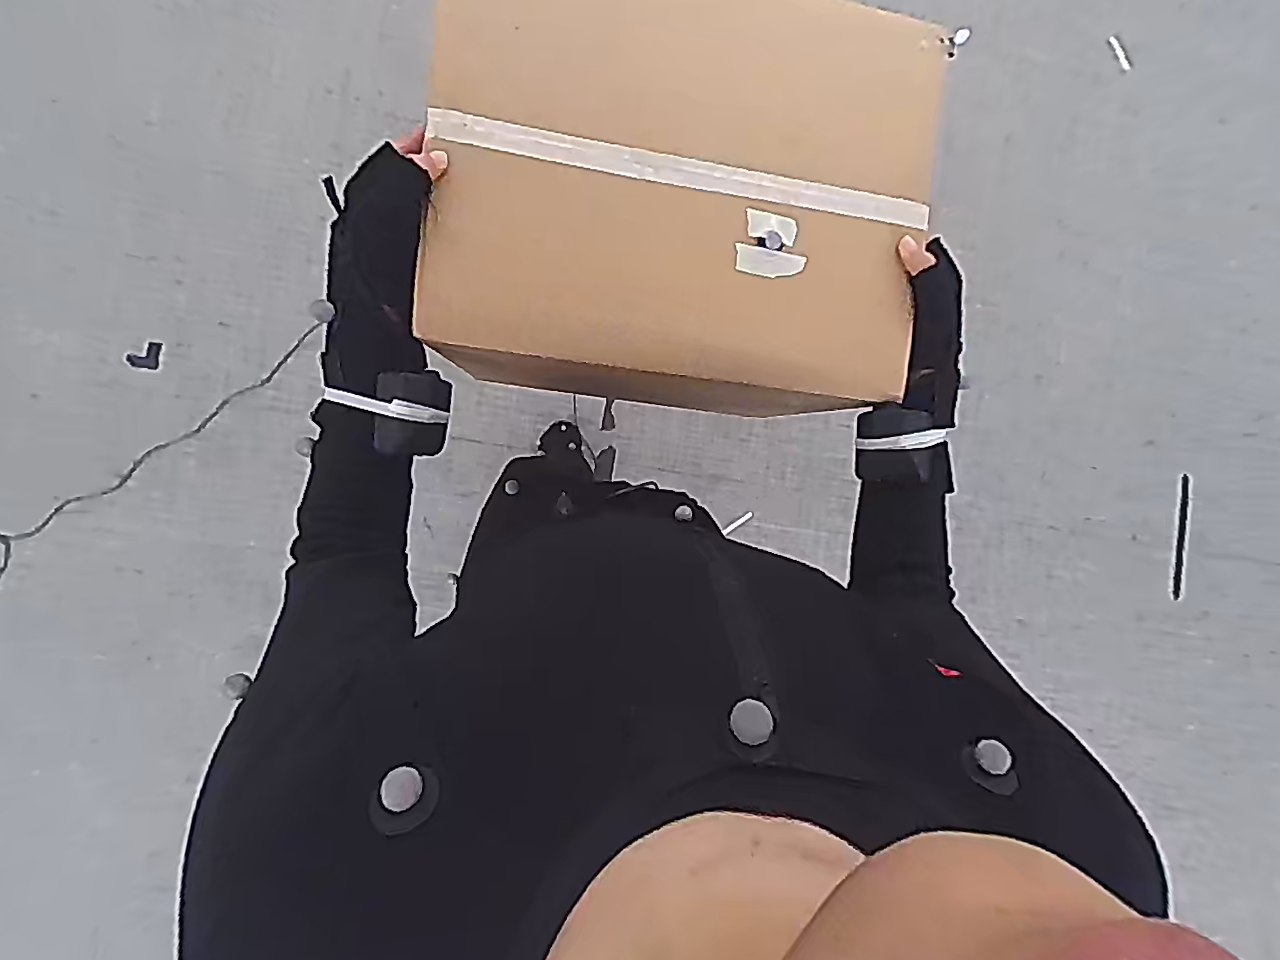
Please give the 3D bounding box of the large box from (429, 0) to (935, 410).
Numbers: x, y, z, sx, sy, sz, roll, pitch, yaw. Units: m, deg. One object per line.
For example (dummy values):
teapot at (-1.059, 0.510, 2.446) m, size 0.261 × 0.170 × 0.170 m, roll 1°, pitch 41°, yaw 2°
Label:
large box at (0.019, -0.255, 0.584) m, size 0.408 × 0.320 × 0.320 m, roll 6°, pitch 95°, yaw -10°
